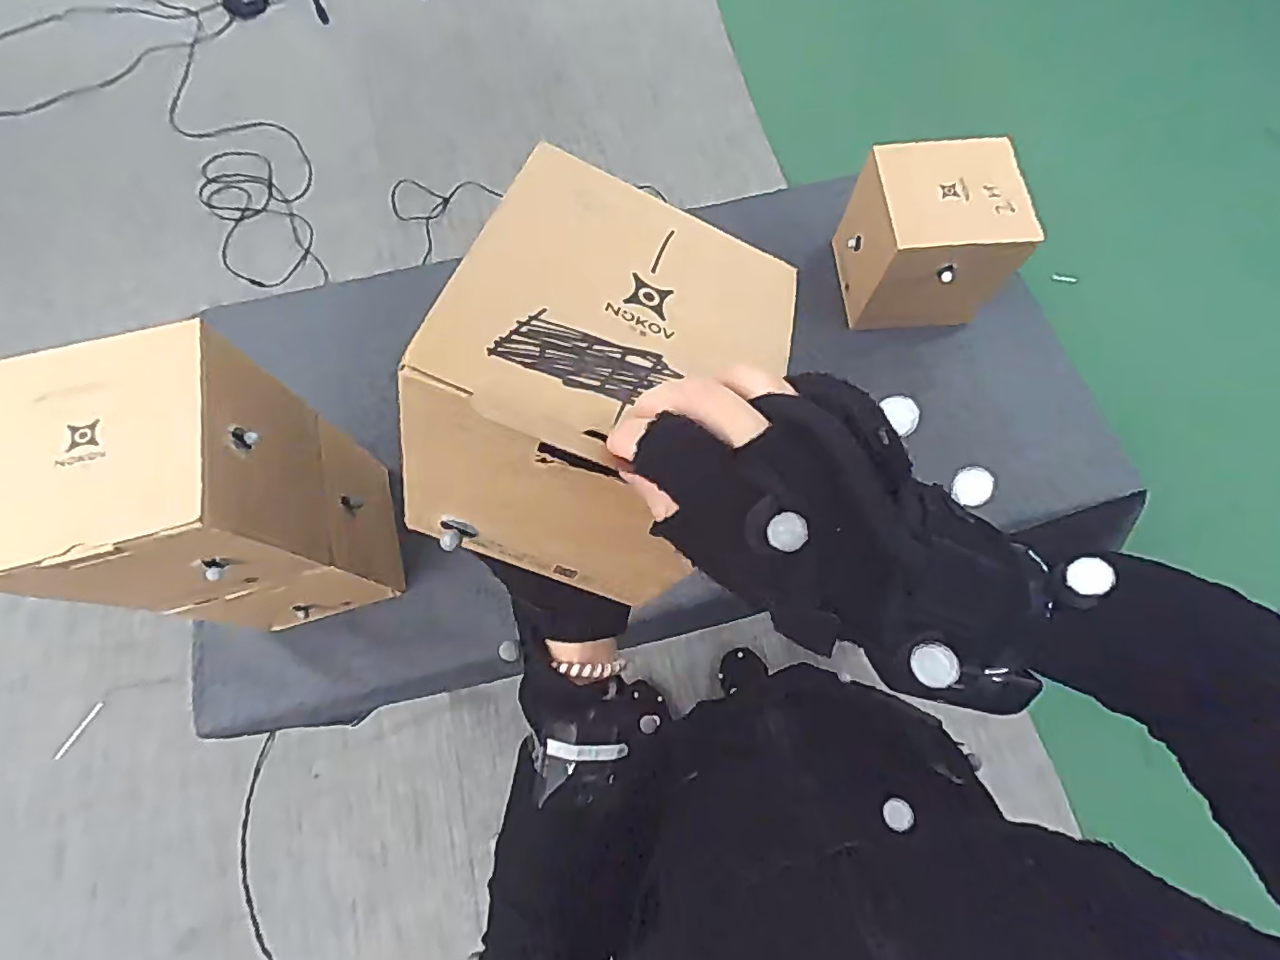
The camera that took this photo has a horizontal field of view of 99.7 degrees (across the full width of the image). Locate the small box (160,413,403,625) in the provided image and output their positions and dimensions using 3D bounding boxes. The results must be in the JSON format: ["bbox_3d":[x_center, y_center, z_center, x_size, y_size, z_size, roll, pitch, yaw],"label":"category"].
[{"bbox_3d":[-0.393,0.053,0.617,0.168,0.176,0.179,-16,71,-5],"label":"small box"}]

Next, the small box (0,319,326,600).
[{"bbox_3d":[-0.396,-0.003,0.464,0.168,0.176,0.179,-14,71,-5],"label":"small box"}]

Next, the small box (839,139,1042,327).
[{"bbox_3d":[0.384,-0.324,0.734,0.179,0.176,0.168,-2,71,0],"label":"small box"}]

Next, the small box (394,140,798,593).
[{"bbox_3d":[-0.026,-0.050,0.329,0.168,0.176,0.179,21,57,-11],"label":"small box"}]
